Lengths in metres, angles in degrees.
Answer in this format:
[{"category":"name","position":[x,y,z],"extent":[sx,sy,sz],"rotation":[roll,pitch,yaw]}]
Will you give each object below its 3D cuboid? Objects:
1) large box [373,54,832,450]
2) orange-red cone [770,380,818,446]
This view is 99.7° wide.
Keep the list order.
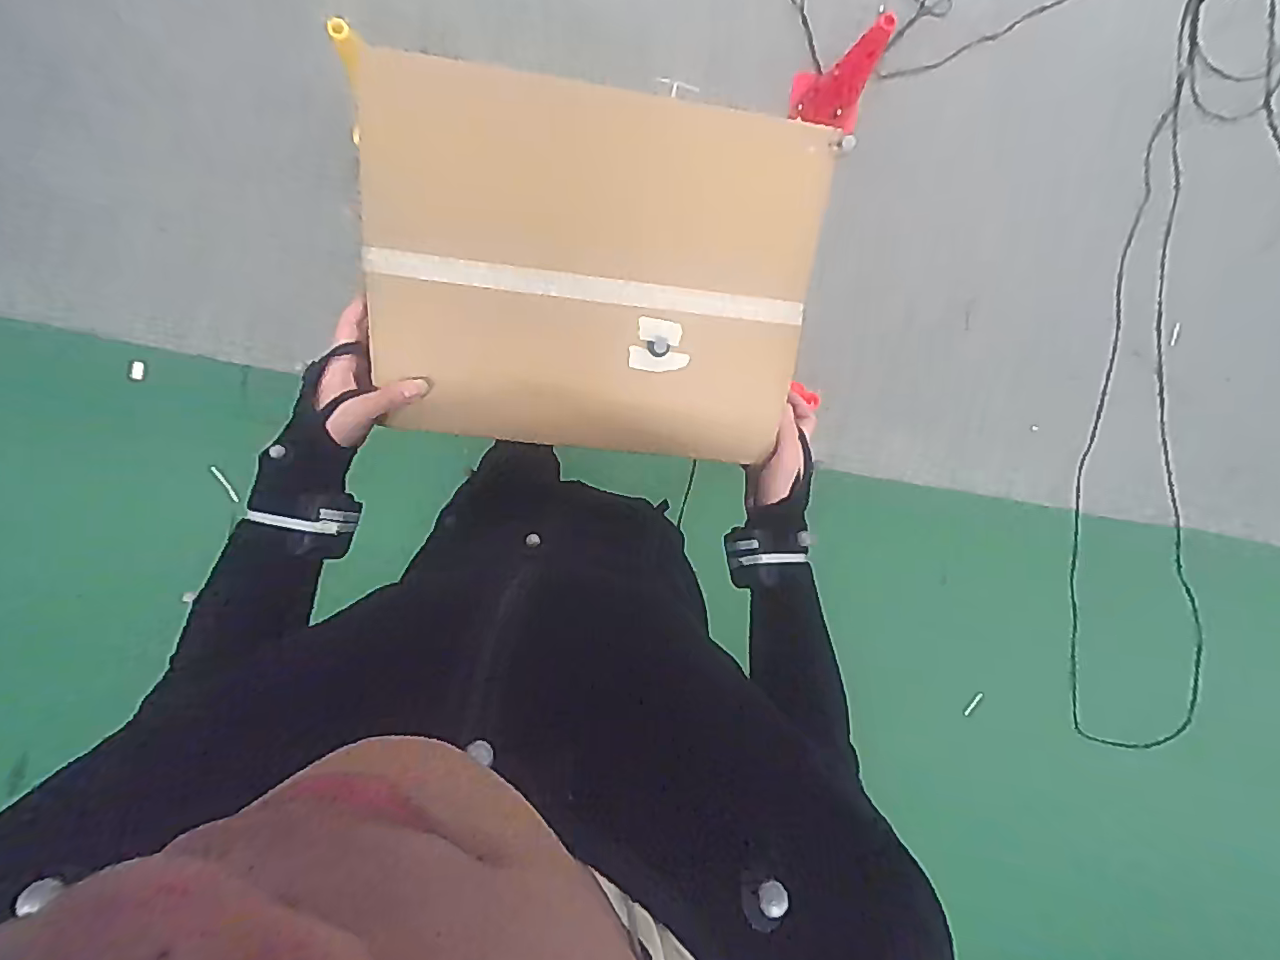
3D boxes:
[{"category":"large box","position":[-0.053,-0.239,0.649],"extent":[0.408,0.320,0.320],"rotation":[5,110,-7]},{"category":"orange-red cone","position":[0.393,-0.199,1.462],"extent":[0.199,0.360,0.198],"rotation":[17,94,-8]}]
